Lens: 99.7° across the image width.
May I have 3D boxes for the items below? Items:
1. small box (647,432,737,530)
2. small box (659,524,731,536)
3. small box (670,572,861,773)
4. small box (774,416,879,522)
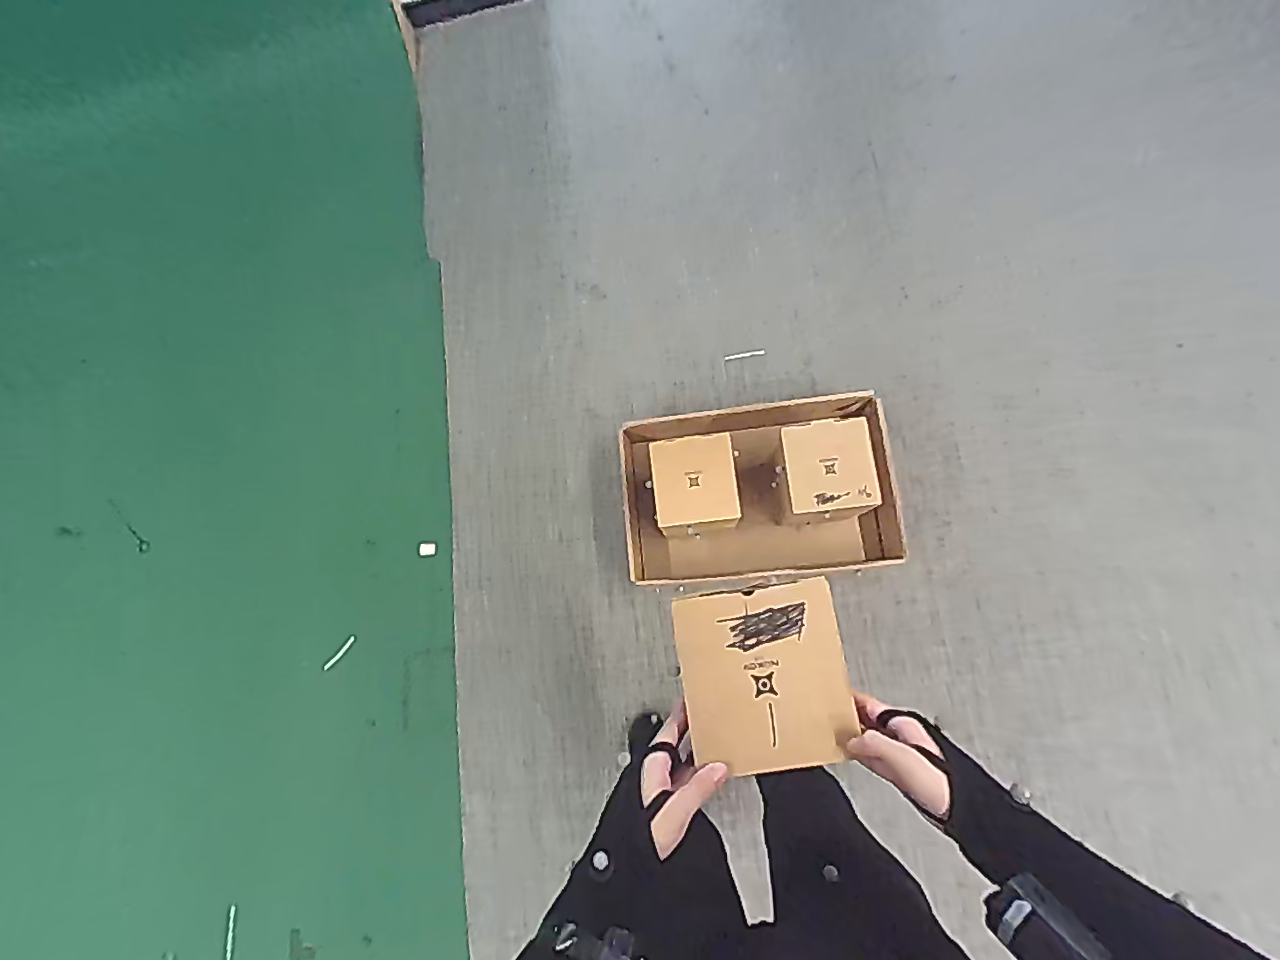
[{"bbox_3d":[0.113,0.011,1.148,0.168,0.176,0.179,-7,78,6],"label":"small box"},{"bbox_3d":[0.130,0.041,1.306,0.168,0.176,0.179,-6,78,6],"label":"small box"},{"bbox_3d":[0.125,0.209,0.614,0.168,0.176,0.179,-9,75,2],"label":"small box"},{"bbox_3d":[0.375,-0.015,1.117,0.168,0.176,0.179,-7,78,9],"label":"small box"}]
